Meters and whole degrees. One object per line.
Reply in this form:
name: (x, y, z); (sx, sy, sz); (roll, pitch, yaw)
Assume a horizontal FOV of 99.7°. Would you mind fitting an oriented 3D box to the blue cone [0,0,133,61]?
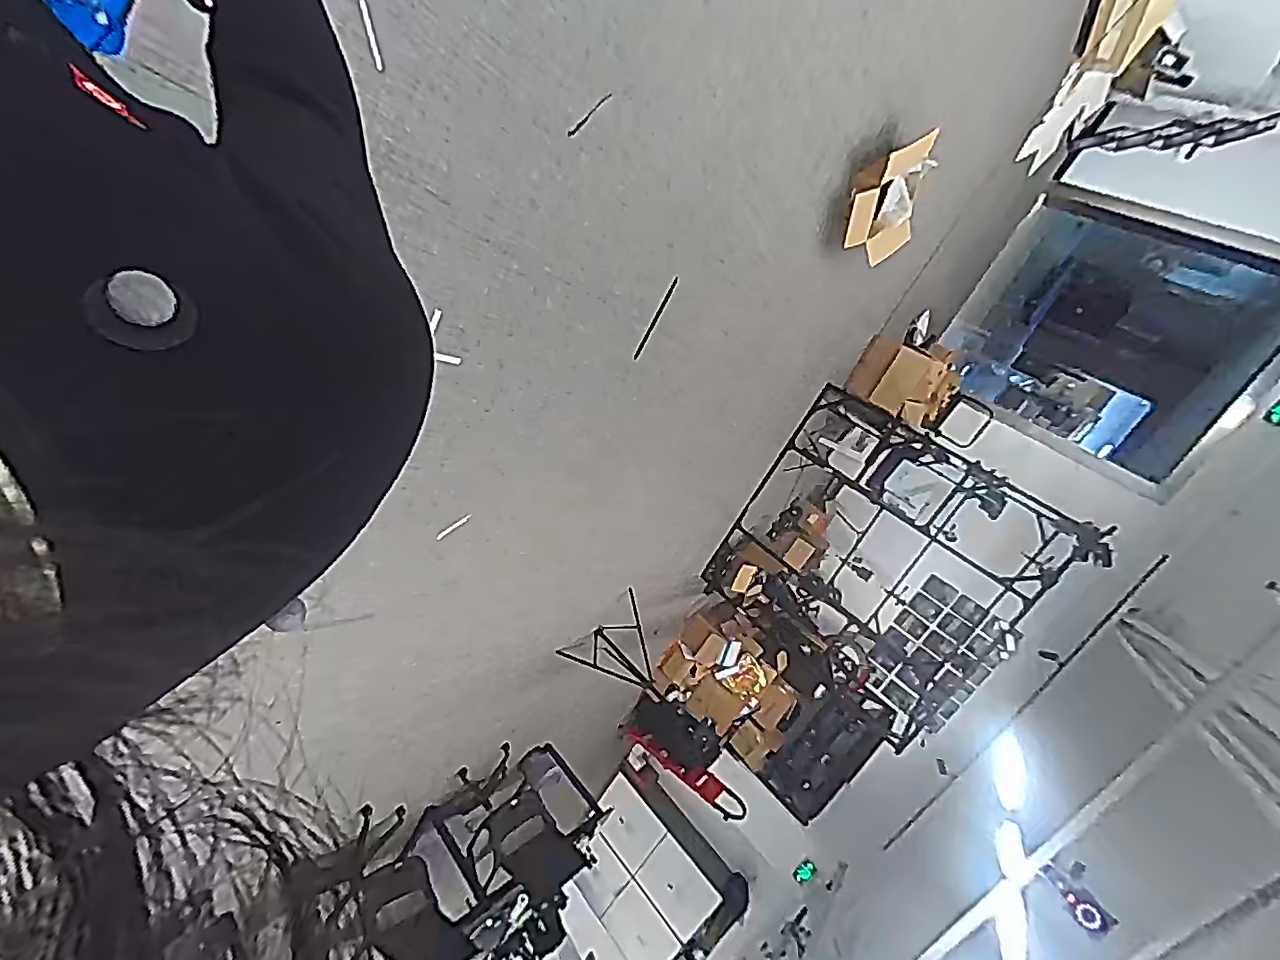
blue cone: (-0.789, -0.688, 0.748); (0.192, 0.380, 0.193); (-4, 128, -54)
